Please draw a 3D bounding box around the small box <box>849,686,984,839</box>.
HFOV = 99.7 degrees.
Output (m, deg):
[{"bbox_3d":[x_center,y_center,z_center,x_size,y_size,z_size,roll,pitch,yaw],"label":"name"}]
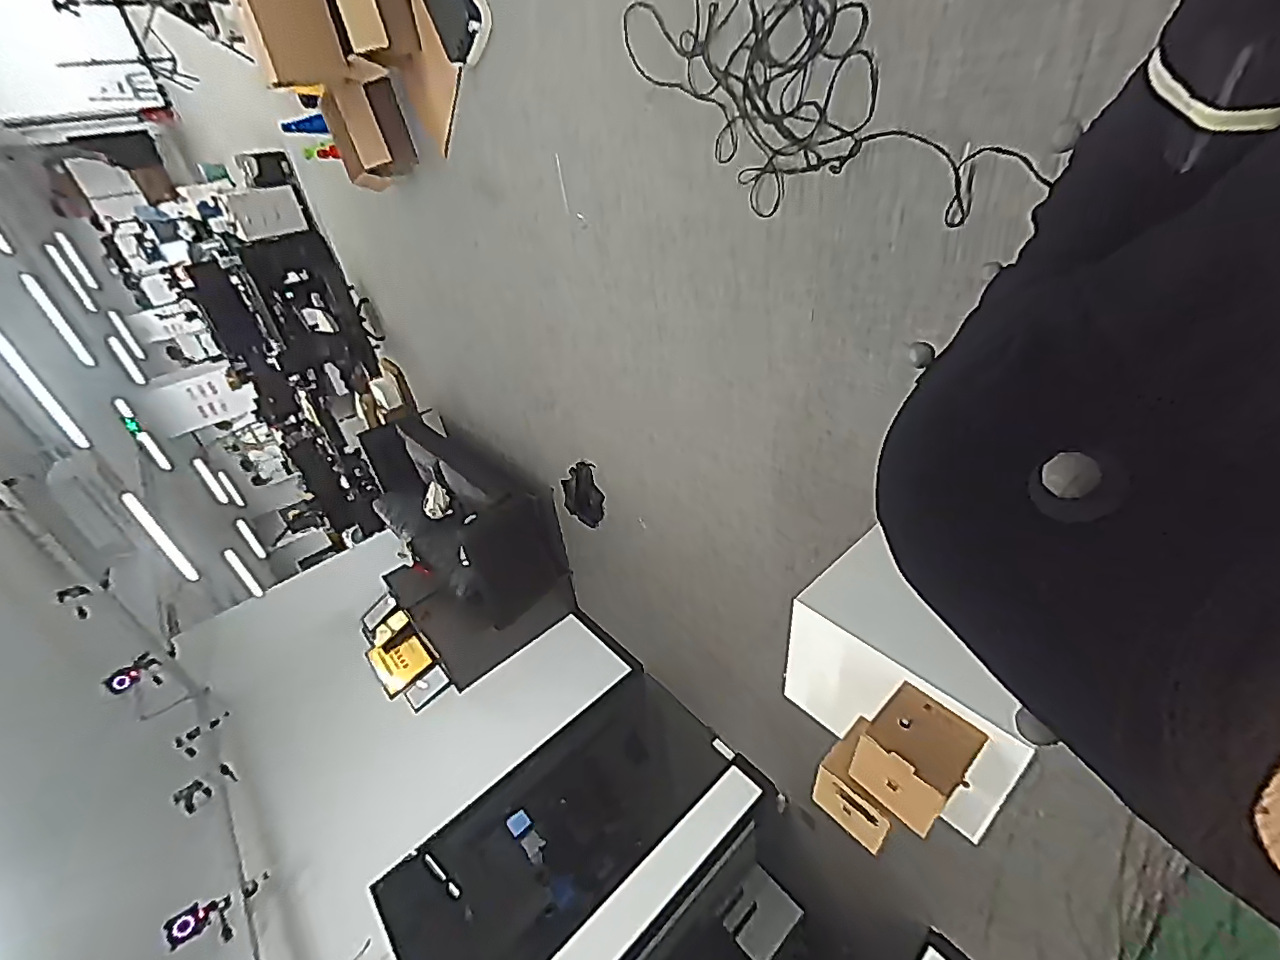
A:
[{"bbox_3d":[0.543,0.548,1.067,0.168,0.176,0.179,33,143,40],"label":"small box"}]
